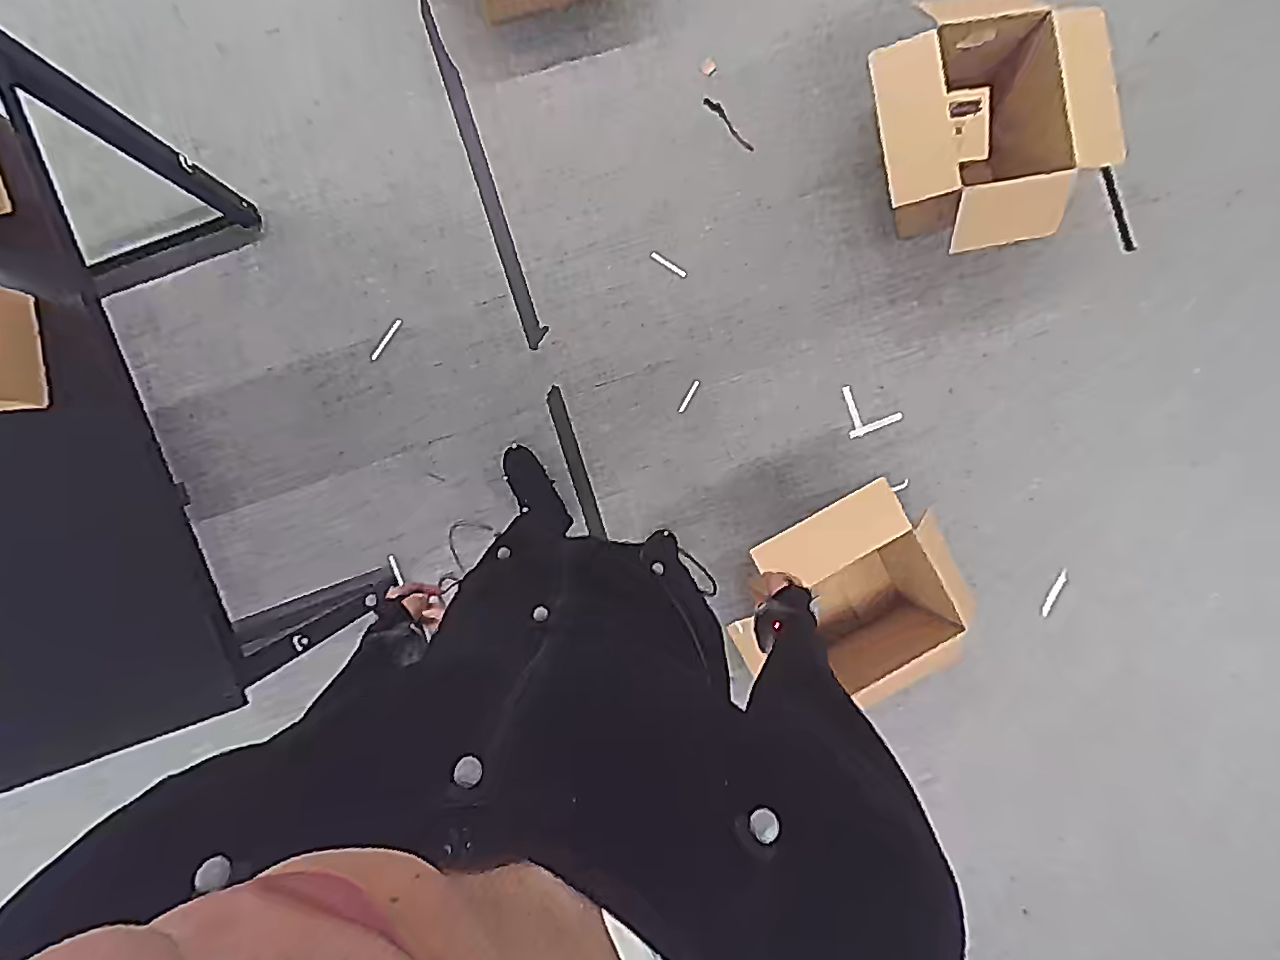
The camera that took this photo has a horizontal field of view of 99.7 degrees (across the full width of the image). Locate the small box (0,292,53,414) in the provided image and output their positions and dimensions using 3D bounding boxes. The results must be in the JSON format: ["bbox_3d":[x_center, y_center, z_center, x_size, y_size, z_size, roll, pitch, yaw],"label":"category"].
[{"bbox_3d":[-1.006,-0.187,0.765,0.168,0.176,0.179,-6,94,-2],"label":"small box"}]

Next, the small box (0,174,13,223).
[{"bbox_3d":[-1.061,-0.461,0.748,0.168,0.176,0.179,-17,95,-1],"label":"small box"}]
